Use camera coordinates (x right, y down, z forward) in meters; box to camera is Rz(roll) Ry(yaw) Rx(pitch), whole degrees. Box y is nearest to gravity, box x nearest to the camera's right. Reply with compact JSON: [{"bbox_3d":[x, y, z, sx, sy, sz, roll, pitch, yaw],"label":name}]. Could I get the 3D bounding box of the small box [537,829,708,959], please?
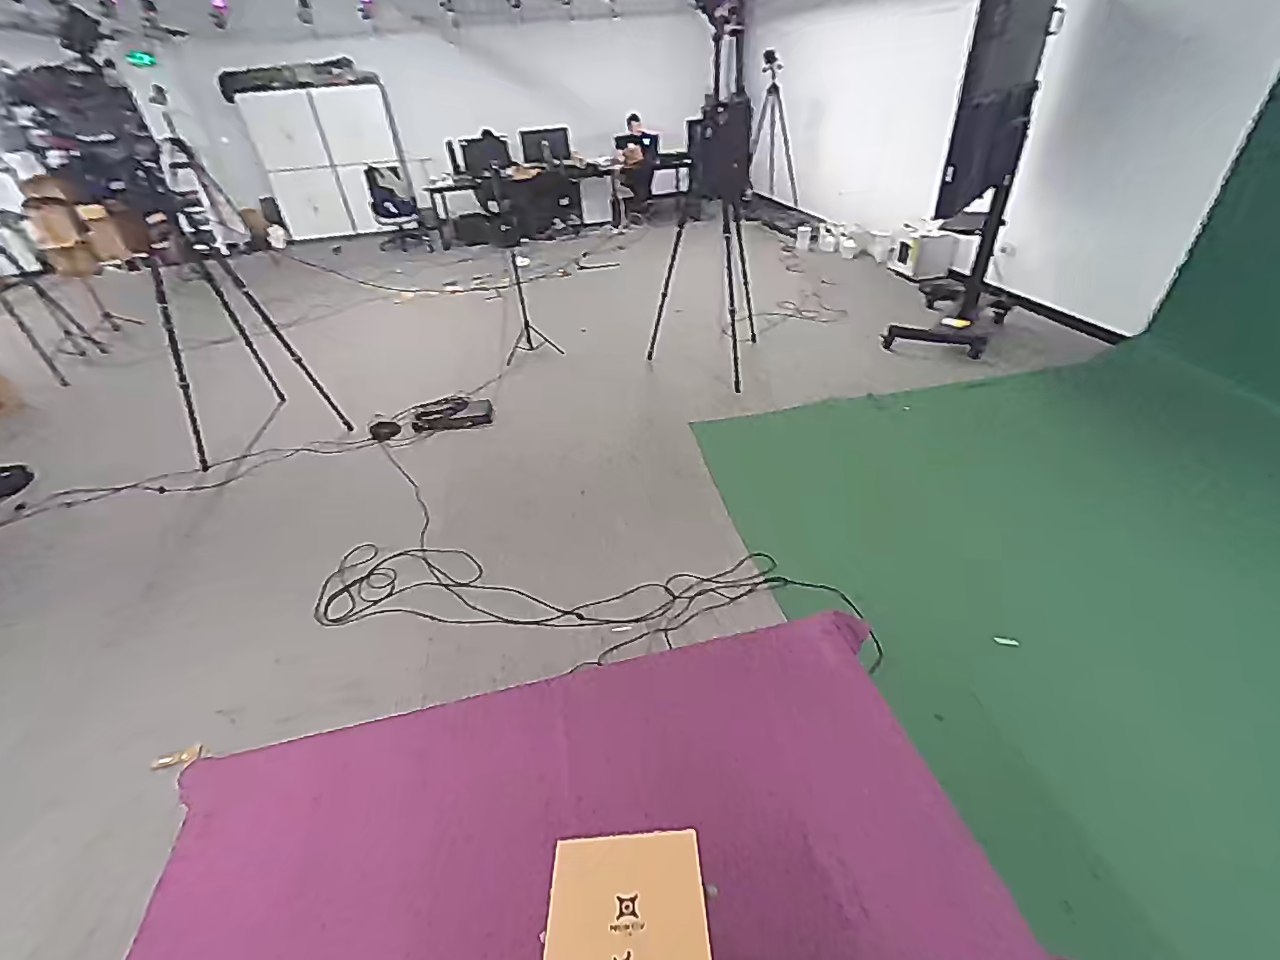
[{"bbox_3d":[-0.012,0.517,0.578,0.168,0.176,0.179,-5,22,1],"label":"small box"}]
